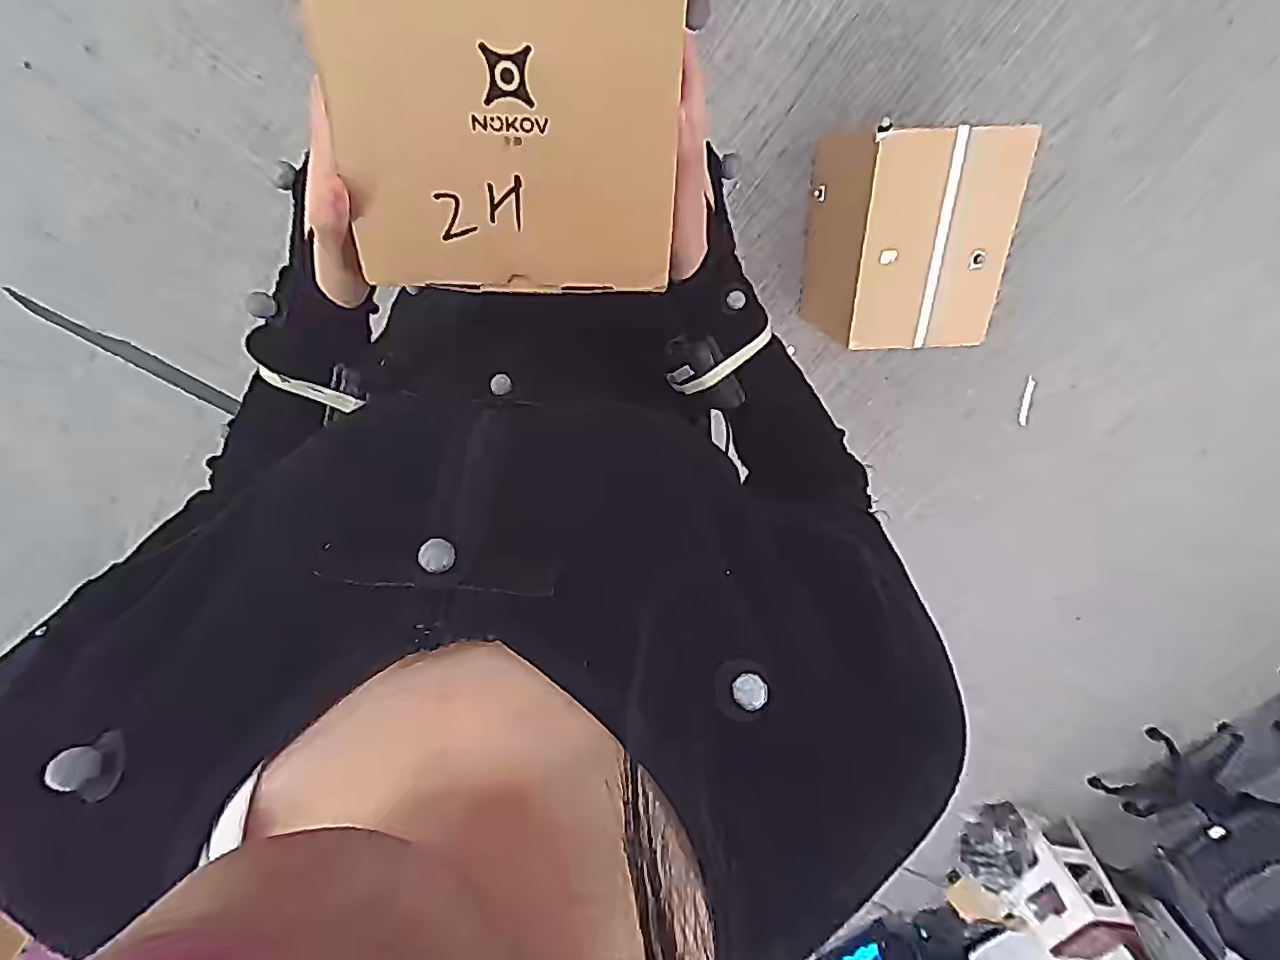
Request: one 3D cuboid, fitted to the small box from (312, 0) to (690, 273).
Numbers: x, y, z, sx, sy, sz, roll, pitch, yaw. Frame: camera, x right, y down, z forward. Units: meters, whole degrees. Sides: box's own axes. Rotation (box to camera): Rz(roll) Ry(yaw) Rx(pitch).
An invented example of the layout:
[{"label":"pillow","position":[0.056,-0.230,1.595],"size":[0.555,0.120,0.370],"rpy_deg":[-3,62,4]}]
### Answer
[{"label":"small box","position":[-0.069,-0.231,0.316],"size":[0.168,0.176,0.179],"rpy_deg":[-1,123,-6]}]
